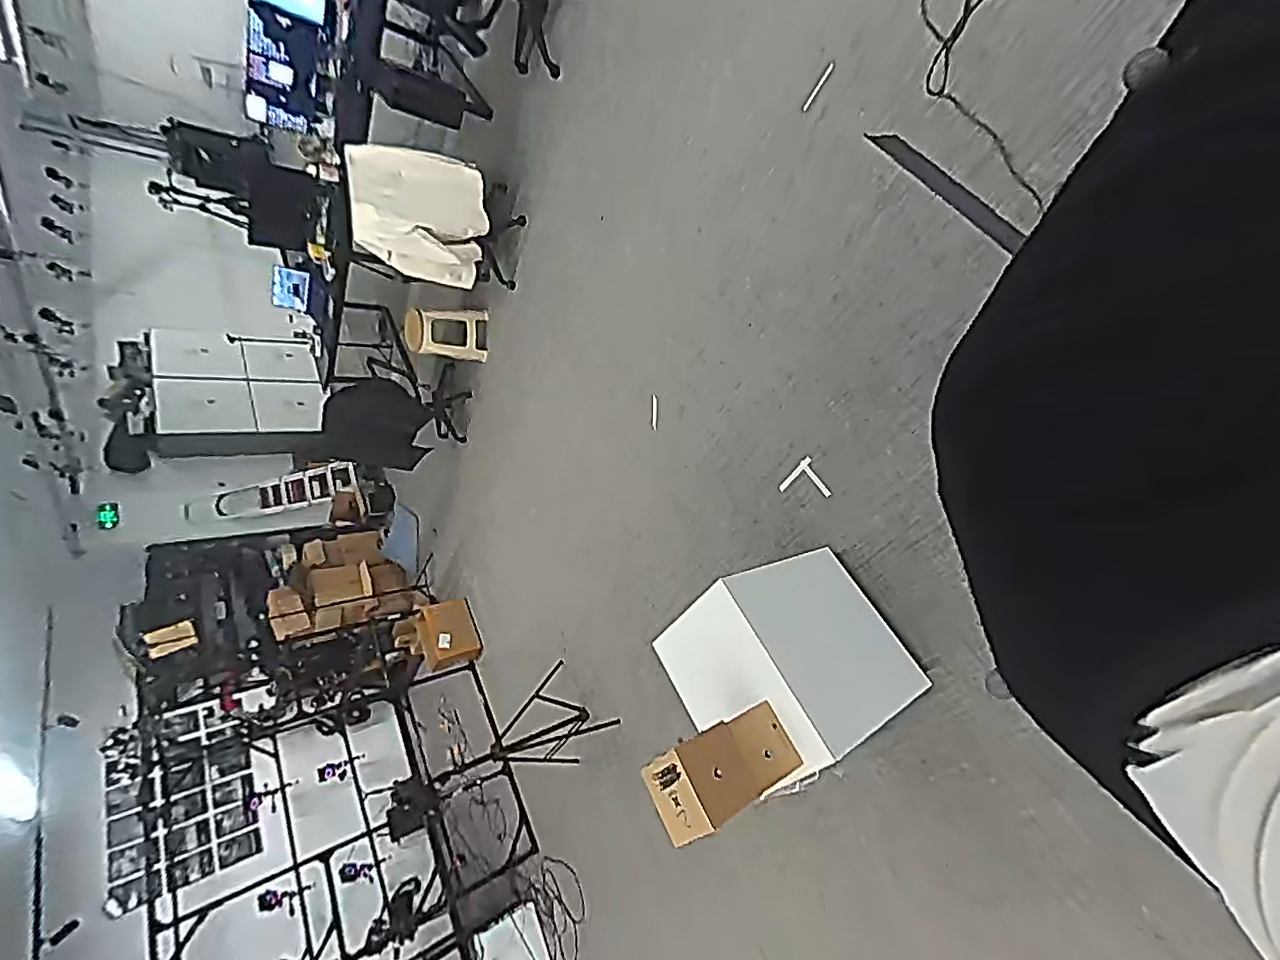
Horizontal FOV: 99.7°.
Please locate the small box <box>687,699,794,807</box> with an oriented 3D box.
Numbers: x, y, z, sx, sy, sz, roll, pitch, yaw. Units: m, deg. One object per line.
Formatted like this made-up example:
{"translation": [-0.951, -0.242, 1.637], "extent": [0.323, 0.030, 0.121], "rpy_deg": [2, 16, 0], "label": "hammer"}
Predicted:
{"translation": [0.258, 0.679, 1.356], "extent": [0.179, 0.176, 0.168], "rpy_deg": [-54, 56, 39], "label": "small box"}
